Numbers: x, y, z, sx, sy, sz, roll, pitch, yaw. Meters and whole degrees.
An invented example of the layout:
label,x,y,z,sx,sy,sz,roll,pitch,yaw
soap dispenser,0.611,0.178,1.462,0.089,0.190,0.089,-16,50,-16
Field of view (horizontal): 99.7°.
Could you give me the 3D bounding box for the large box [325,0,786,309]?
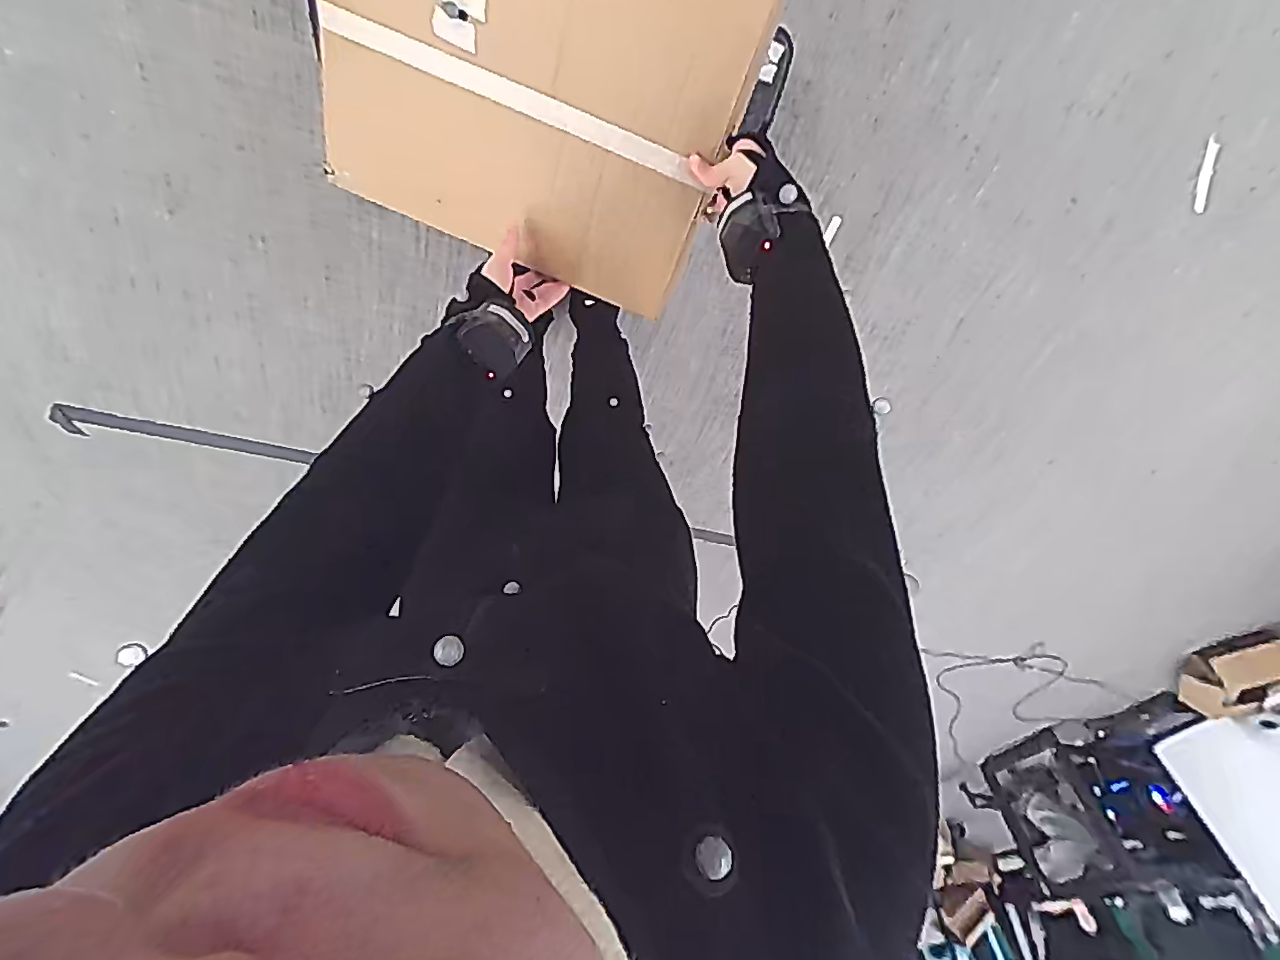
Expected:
label,x,y,z,sx,sy,sz,roll,pitch,yaw
large box,-0.080,-0.463,0.632,0.408,0.320,0.320,22,129,-2
